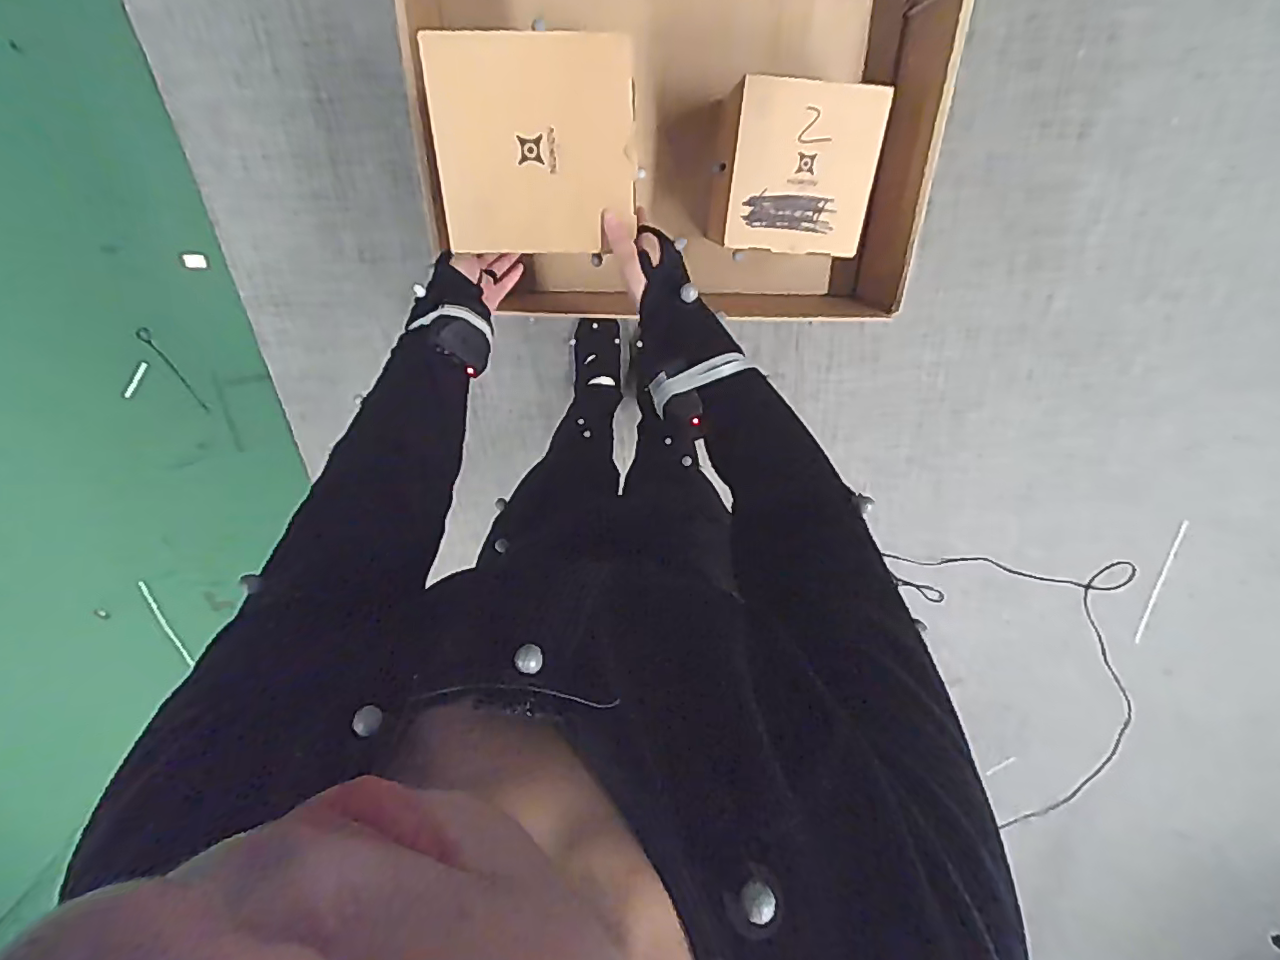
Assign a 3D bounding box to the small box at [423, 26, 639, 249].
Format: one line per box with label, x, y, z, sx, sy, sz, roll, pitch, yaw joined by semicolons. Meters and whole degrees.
small box;-0.091;-0.325;0.539;0.179;0.176;0.168;-1;118;-3
